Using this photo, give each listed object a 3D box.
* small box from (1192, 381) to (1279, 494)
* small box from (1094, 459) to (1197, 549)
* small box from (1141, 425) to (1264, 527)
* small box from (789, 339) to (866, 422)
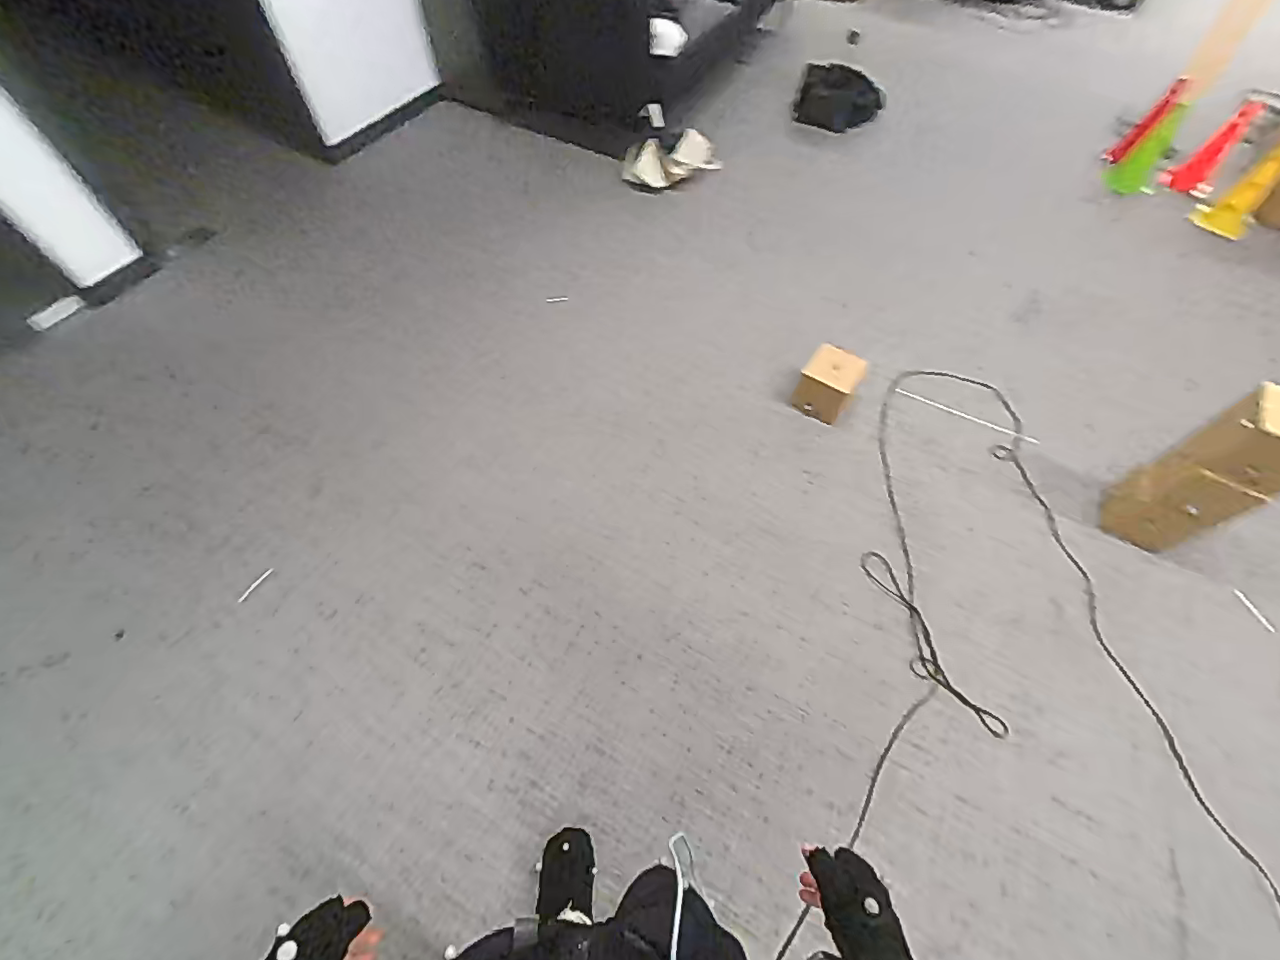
[{"bbox_3d":[1.511,-0.100,1.318,0.168,0.176,0.179,29,62,15],"label":"small box"},{"bbox_3d":[1.494,0.075,1.593,0.179,0.176,0.168,28,62,15],"label":"small box"},{"bbox_3d":[1.503,-0.008,1.452,0.168,0.176,0.179,29,63,15],"label":"small box"},{"bbox_3d":[0.625,-0.332,1.820,0.168,0.176,0.179,31,62,18],"label":"small box"}]
